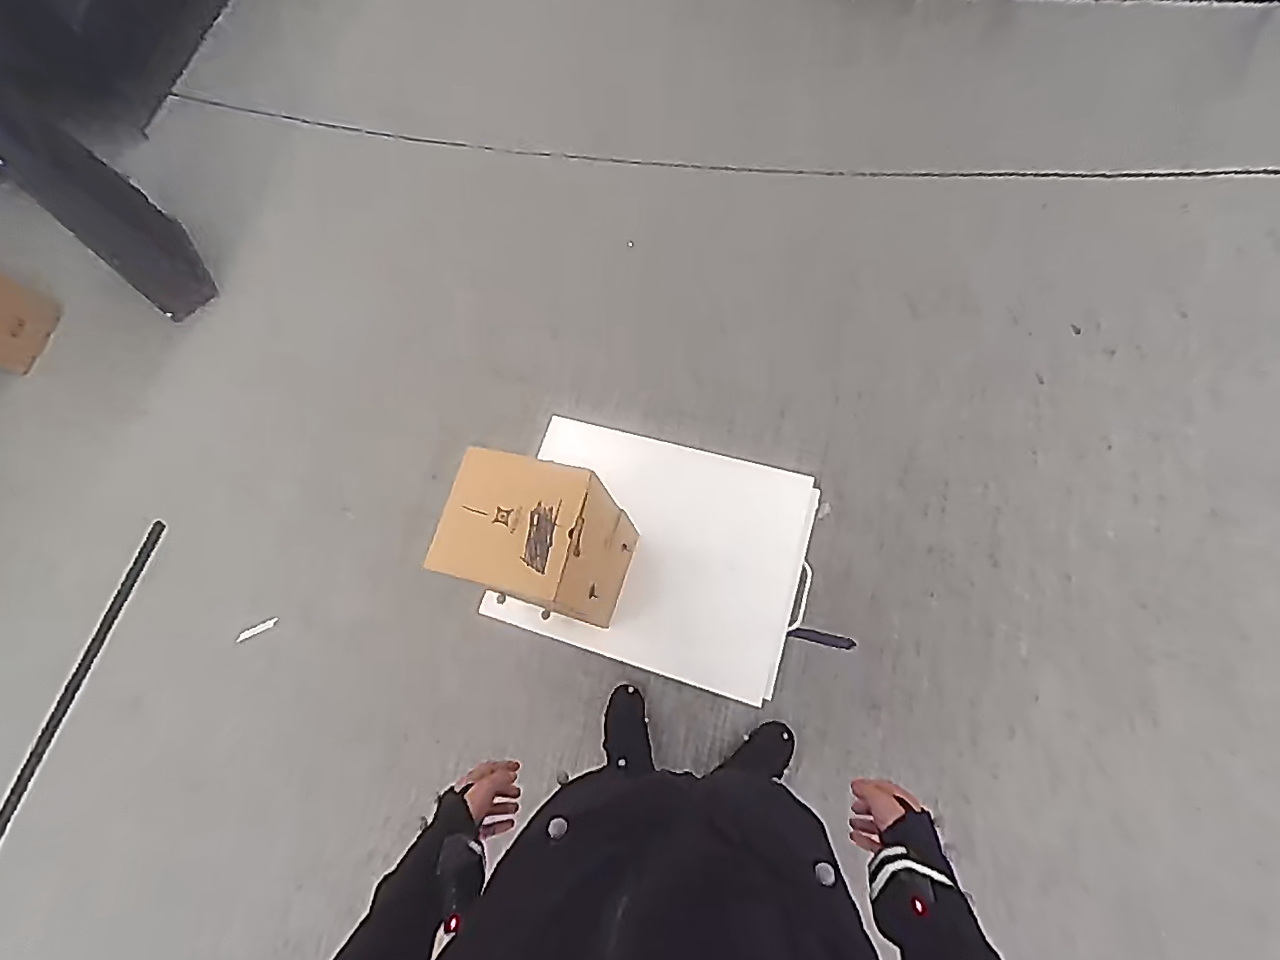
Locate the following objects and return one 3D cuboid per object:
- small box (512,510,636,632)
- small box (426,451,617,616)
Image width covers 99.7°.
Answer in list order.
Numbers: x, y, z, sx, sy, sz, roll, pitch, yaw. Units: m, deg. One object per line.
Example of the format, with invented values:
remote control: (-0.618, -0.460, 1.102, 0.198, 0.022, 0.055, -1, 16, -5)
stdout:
small box: (-0.113, 0.134, 0.879, 0.168, 0.176, 0.179, 16, 74, 14)
small box: (-0.142, 0.080, 0.727, 0.179, 0.176, 0.168, 11, 72, 14)
